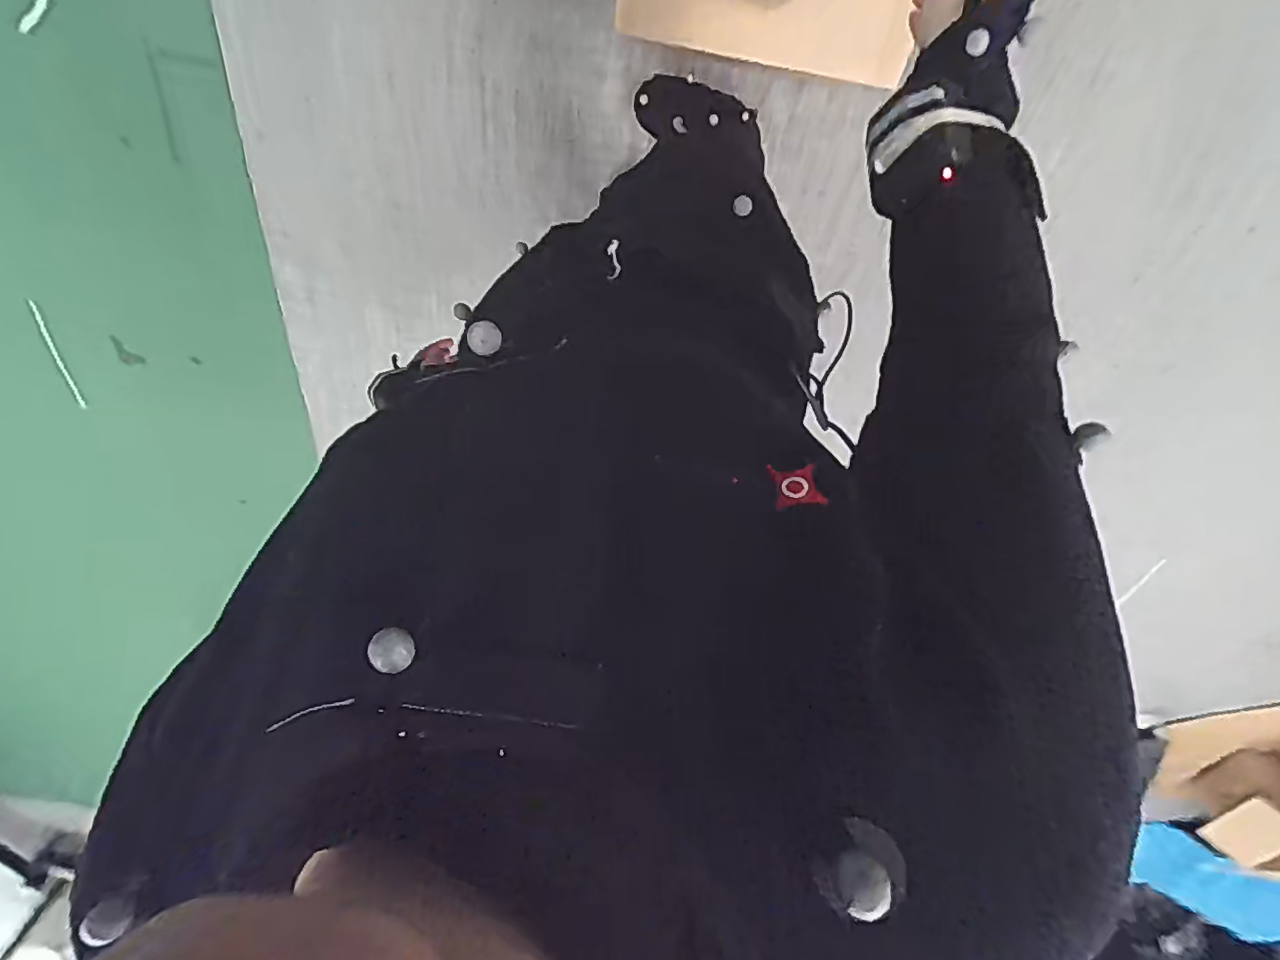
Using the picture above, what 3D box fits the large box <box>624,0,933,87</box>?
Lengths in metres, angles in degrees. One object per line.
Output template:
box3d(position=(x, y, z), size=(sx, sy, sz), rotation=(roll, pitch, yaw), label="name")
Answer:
box3d(position=(0.199, -0.785, 0.774), size=(0.408, 0.320, 0.320), rotation=(9, 128, -3), label="large box")
